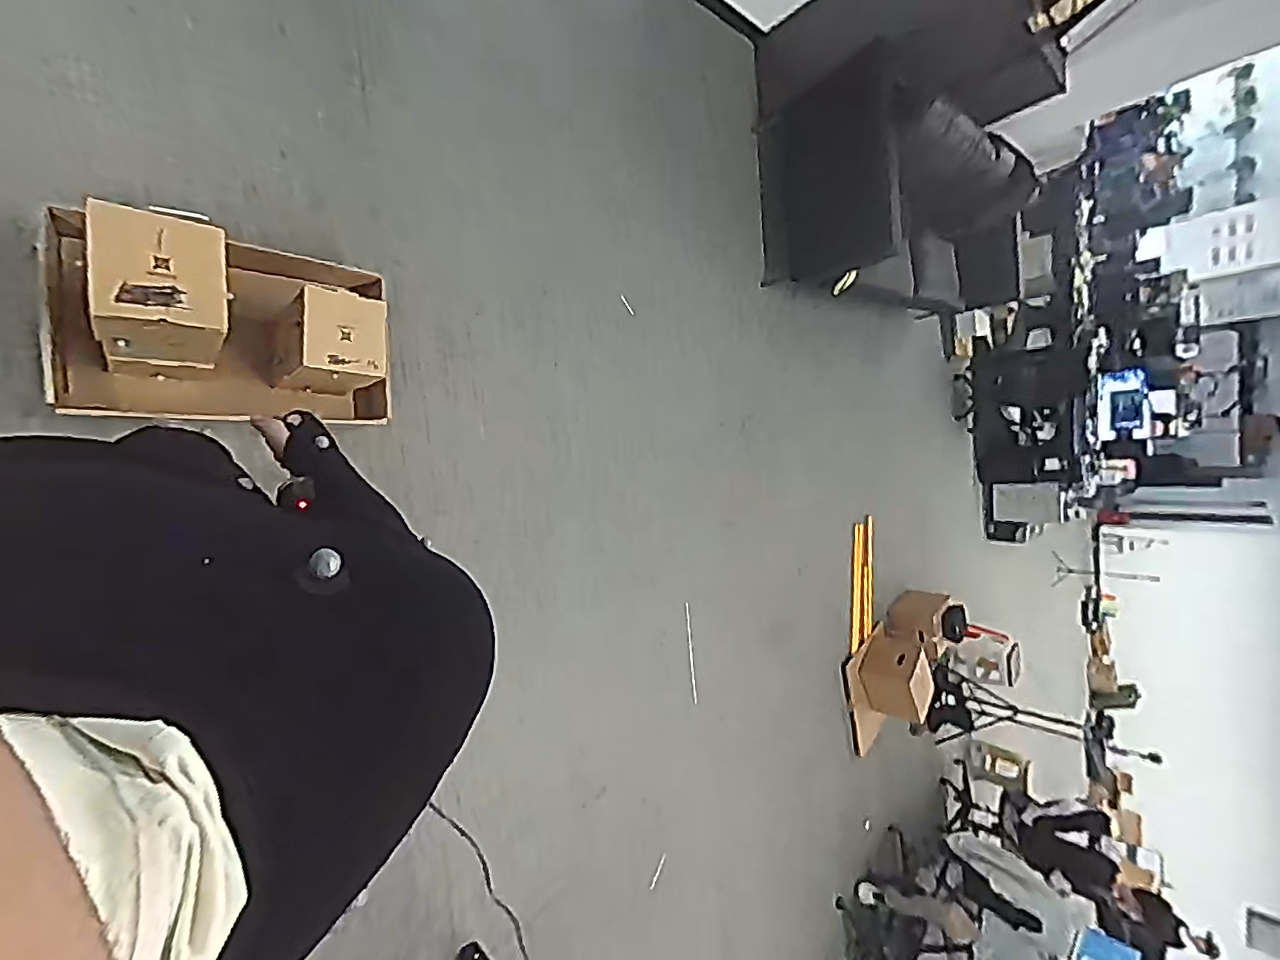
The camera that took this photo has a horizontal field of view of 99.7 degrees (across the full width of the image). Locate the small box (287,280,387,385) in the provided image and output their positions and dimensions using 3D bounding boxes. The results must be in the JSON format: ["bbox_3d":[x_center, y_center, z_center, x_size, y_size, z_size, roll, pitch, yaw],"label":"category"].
[{"bbox_3d":[-0.690,-0.326,1.230,0.168,0.176,0.179,2,87,-43],"label":"small box"}]

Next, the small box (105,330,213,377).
[{"bbox_3d":[-1.020,-0.328,1.147,0.168,0.176,0.179,-1,89,-43],"label":"small box"}]

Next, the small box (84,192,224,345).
[{"bbox_3d":[-0.804,-0.334,0.900,0.168,0.176,0.179,-1,88,-43],"label":"small box"}]
